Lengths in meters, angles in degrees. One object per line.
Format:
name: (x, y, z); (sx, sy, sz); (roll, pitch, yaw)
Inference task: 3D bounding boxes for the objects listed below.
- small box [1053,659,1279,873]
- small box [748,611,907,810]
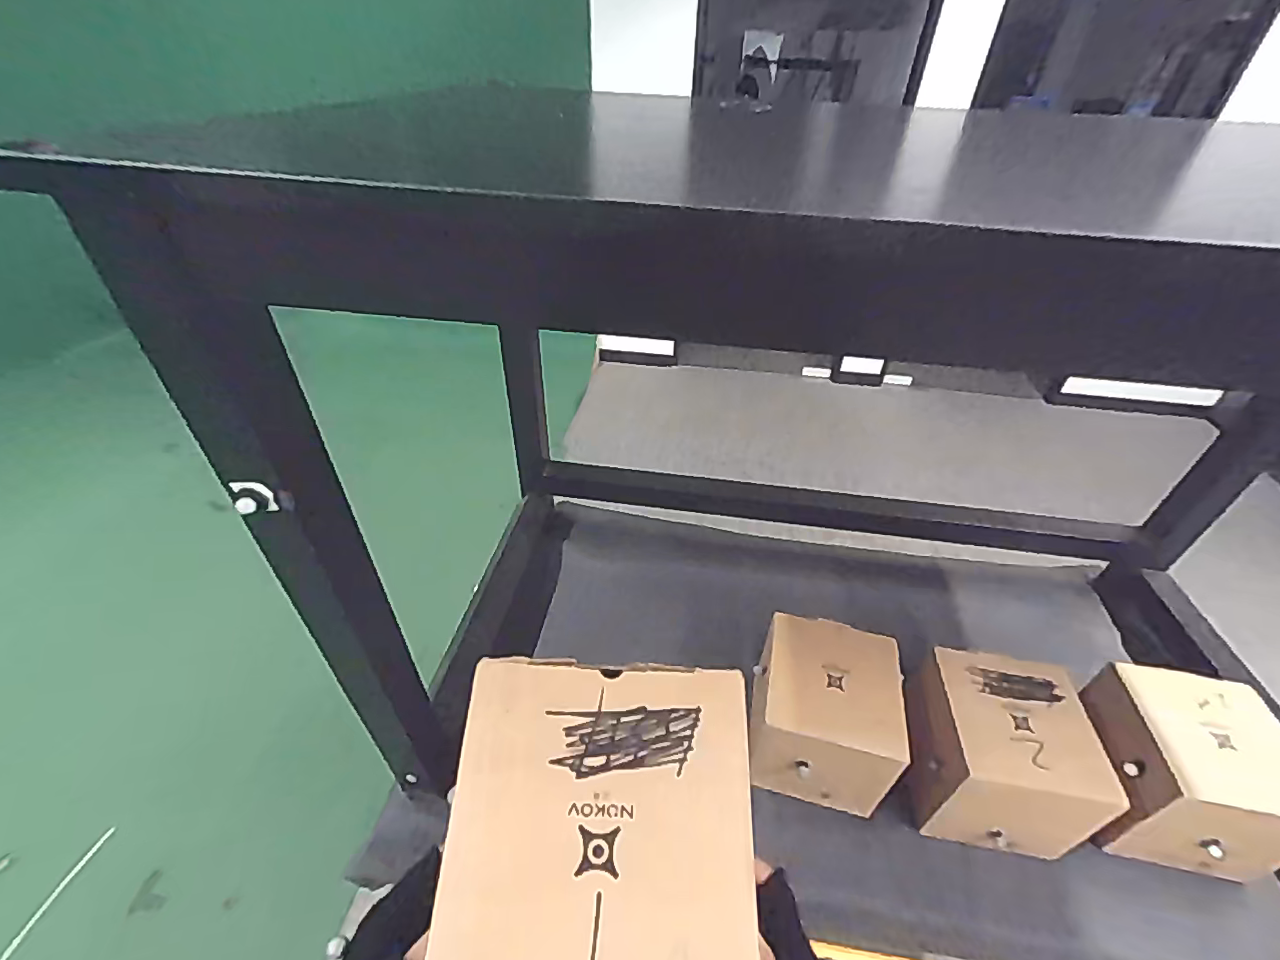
small box: (0.684, 0.366, 0.693); (0.168, 0.176, 0.179); (9, 38, 8)
small box: (0.248, 0.316, 0.743); (0.168, 0.176, 0.179); (11, 39, 11)
